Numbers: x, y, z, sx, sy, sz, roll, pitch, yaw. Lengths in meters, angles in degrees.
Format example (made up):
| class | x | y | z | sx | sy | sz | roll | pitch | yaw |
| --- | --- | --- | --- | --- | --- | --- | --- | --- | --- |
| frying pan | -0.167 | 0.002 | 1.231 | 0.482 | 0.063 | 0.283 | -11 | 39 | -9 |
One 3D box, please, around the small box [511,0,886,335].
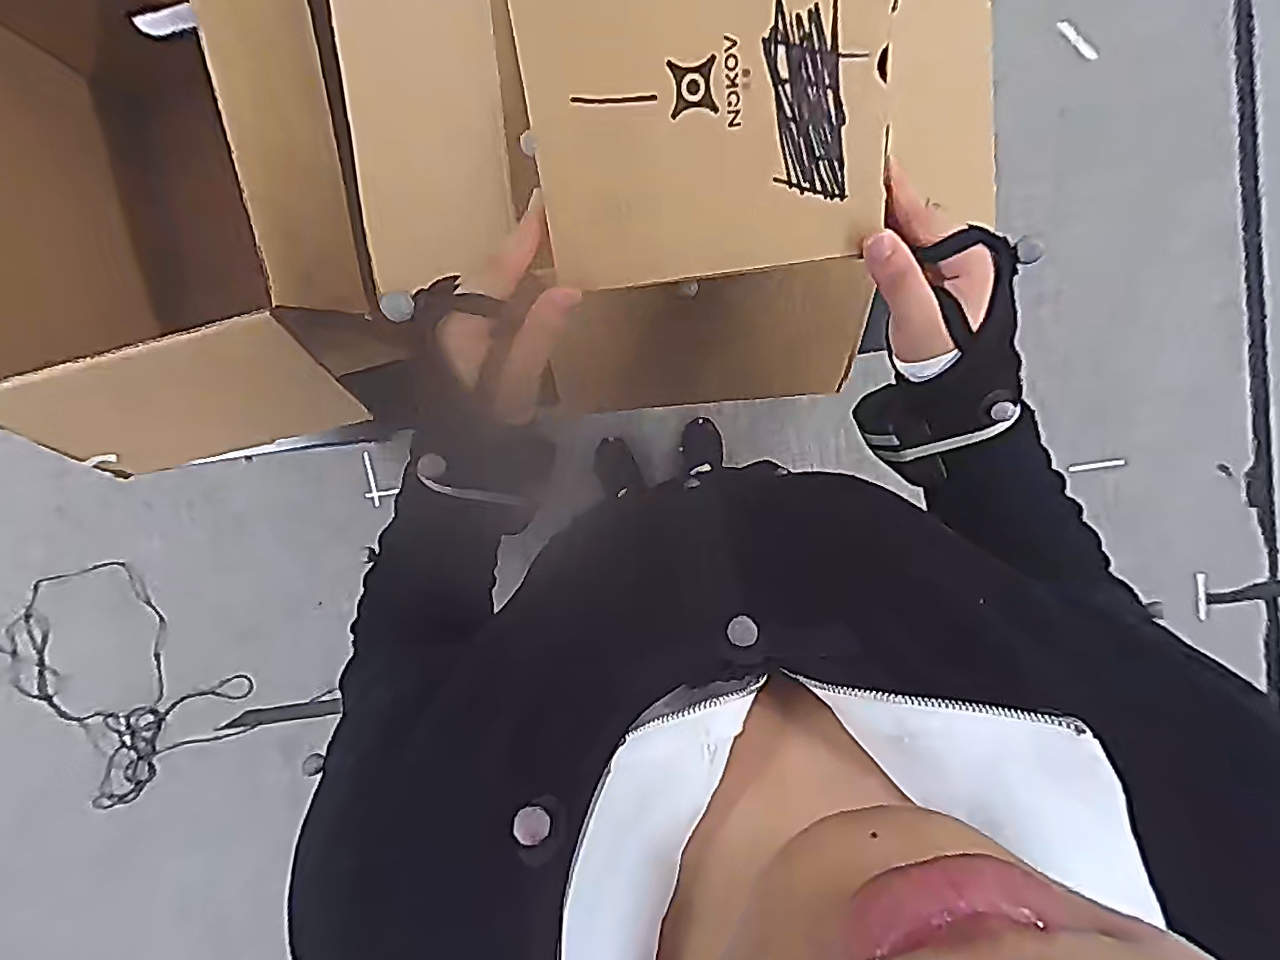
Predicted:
| class | x | y | z | sx | sy | sz | roll | pitch | yaw |
| --- | --- | --- | --- | --- | --- | --- | --- | --- | --- |
| small box | 0.030 | -0.199 | 0.346 | 0.179 | 0.176 | 0.168 | -7 | 114 | 0 |
